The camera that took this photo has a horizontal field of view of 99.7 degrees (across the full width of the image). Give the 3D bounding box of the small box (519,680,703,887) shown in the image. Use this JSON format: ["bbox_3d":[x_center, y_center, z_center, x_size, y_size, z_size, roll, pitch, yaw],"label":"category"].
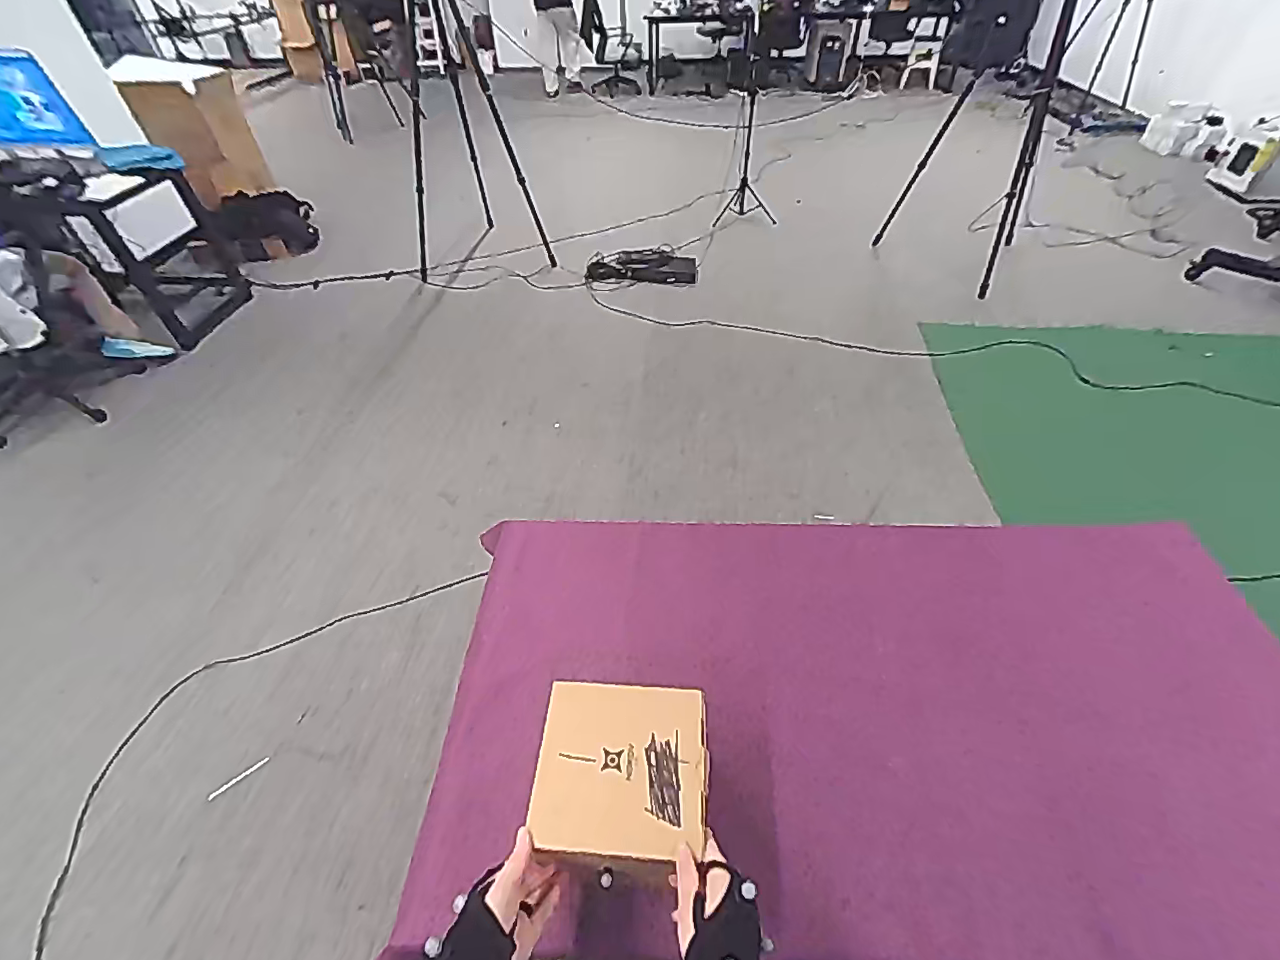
[{"bbox_3d":[-0.021,0.352,0.625,0.179,0.176,0.168,2,45,5],"label":"small box"}]
